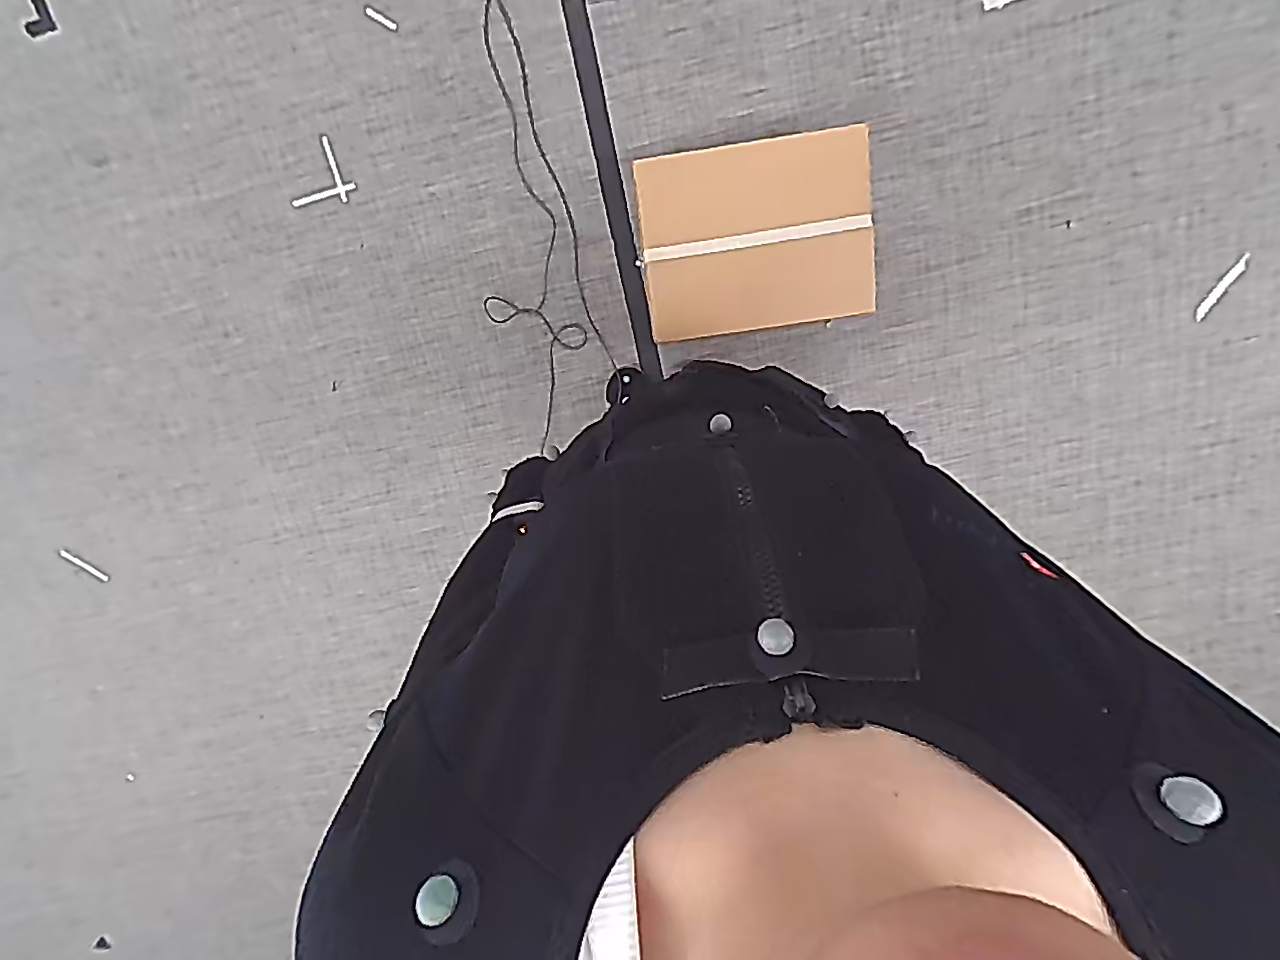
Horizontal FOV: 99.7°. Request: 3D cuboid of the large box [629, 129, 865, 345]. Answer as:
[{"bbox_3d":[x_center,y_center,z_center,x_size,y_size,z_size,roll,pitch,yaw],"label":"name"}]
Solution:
[{"bbox_3d":[0.201,-0.465,1.114,0.408,0.320,0.320,-8,103,3],"label":"large box"}]
